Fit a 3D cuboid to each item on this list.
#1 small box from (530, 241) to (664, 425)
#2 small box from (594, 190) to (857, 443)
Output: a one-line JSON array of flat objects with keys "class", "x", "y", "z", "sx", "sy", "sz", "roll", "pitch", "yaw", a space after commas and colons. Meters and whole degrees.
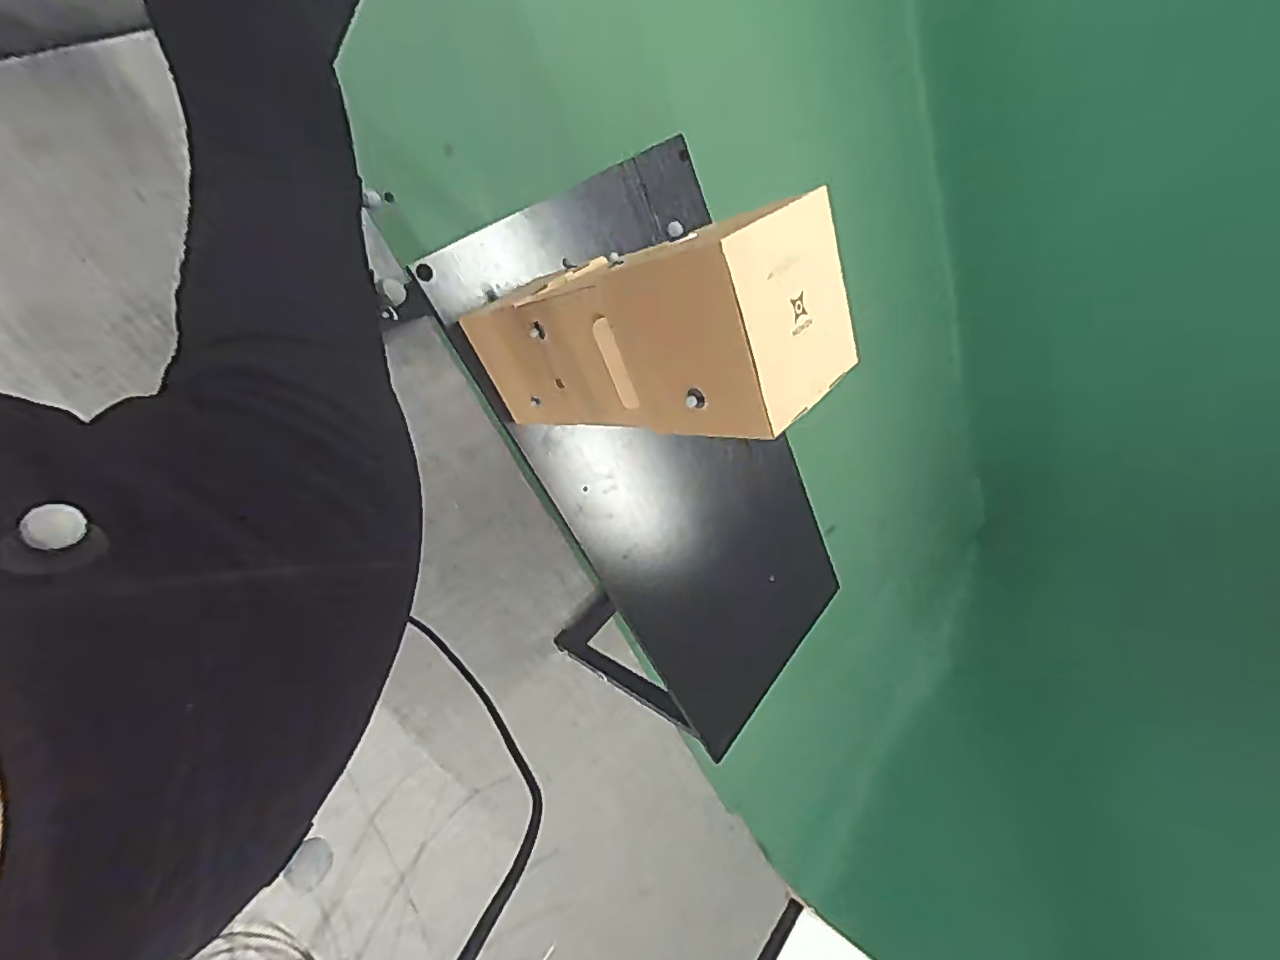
[{"class": "small box", "x": -0.013, "y": -0.180, "z": 0.666, "sx": 0.179, "sy": 0.176, "sz": 0.168, "roll": -39, "pitch": 121, "yaw": -30}, {"class": "small box", "x": 0.086, "y": -0.156, "z": 0.539, "sx": 0.168, "sy": 0.176, "sz": 0.179, "roll": -39, "pitch": 120, "yaw": -31}]
